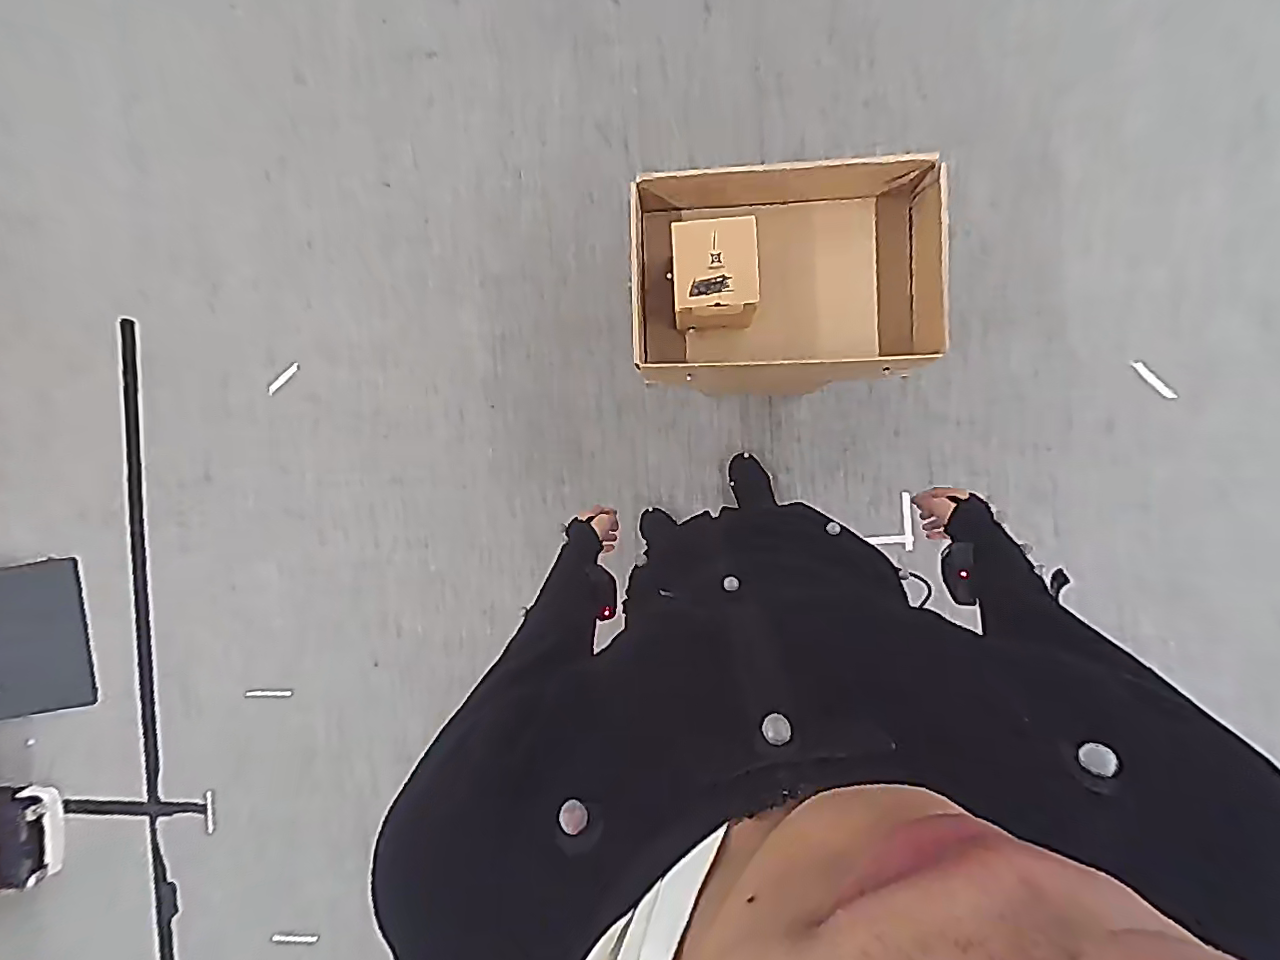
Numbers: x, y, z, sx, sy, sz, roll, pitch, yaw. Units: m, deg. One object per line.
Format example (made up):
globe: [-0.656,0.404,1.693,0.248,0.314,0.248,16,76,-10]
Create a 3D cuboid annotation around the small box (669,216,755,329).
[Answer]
small box: [0.149,-0.422,1.132,0.168,0.176,0.179,-2,90,5]
